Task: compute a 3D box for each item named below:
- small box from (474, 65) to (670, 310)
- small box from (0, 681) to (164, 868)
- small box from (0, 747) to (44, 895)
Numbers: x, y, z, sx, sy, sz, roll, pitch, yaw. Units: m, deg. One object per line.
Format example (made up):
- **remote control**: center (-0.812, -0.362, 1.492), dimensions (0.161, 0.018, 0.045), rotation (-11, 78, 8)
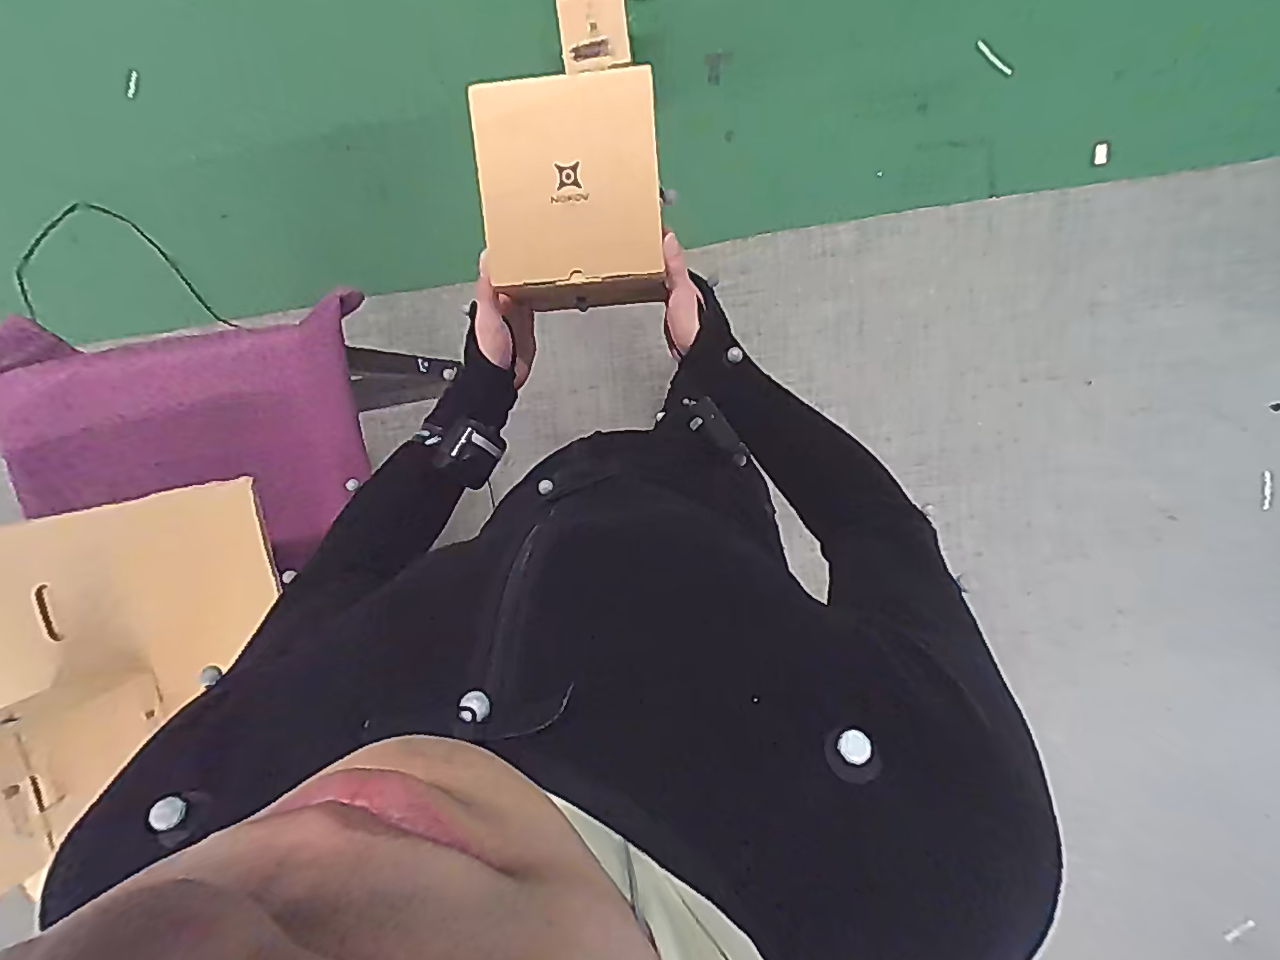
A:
- **small box**: center (-0.058, -0.284, 0.564), dimensions (0.168, 0.176, 0.179), rotation (-4, 101, 3)
- **small box**: center (-0.803, 0.394, 0.736), dimensions (0.179, 0.176, 0.168), rotation (-11, 95, 6)
- **small box**: center (-0.818, 0.413, 0.573), dimensions (0.179, 0.176, 0.168), rotation (-11, 95, 5)
